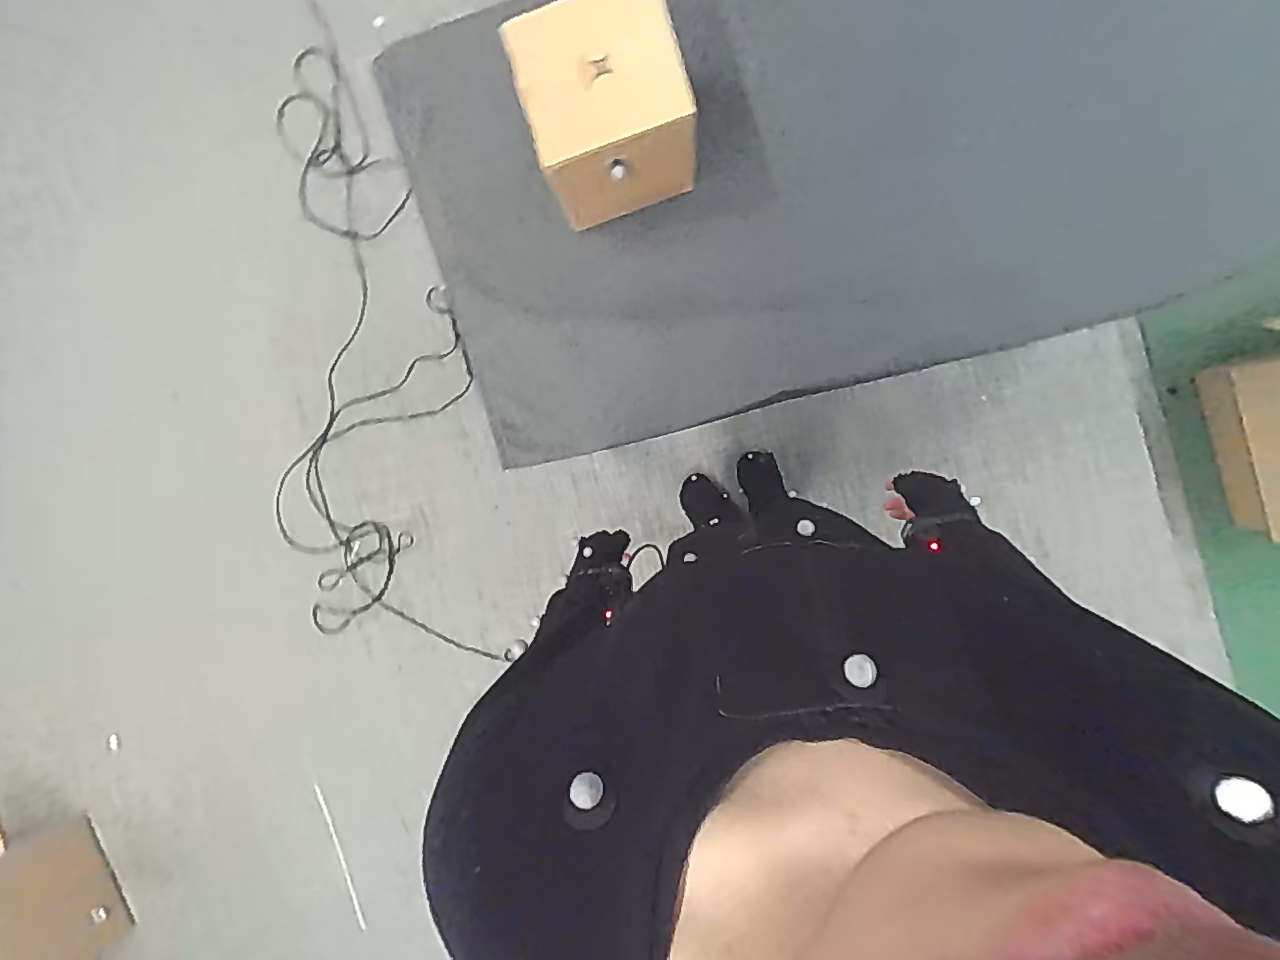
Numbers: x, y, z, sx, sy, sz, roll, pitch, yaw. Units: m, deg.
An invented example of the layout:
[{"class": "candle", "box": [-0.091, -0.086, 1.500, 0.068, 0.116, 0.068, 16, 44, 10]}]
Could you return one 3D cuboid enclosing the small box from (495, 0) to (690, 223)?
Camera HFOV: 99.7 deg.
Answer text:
[{"class": "small box", "box": [-0.045, -0.447, 0.656, 0.179, 0.176, 0.168, -17, 91, 8]}]
